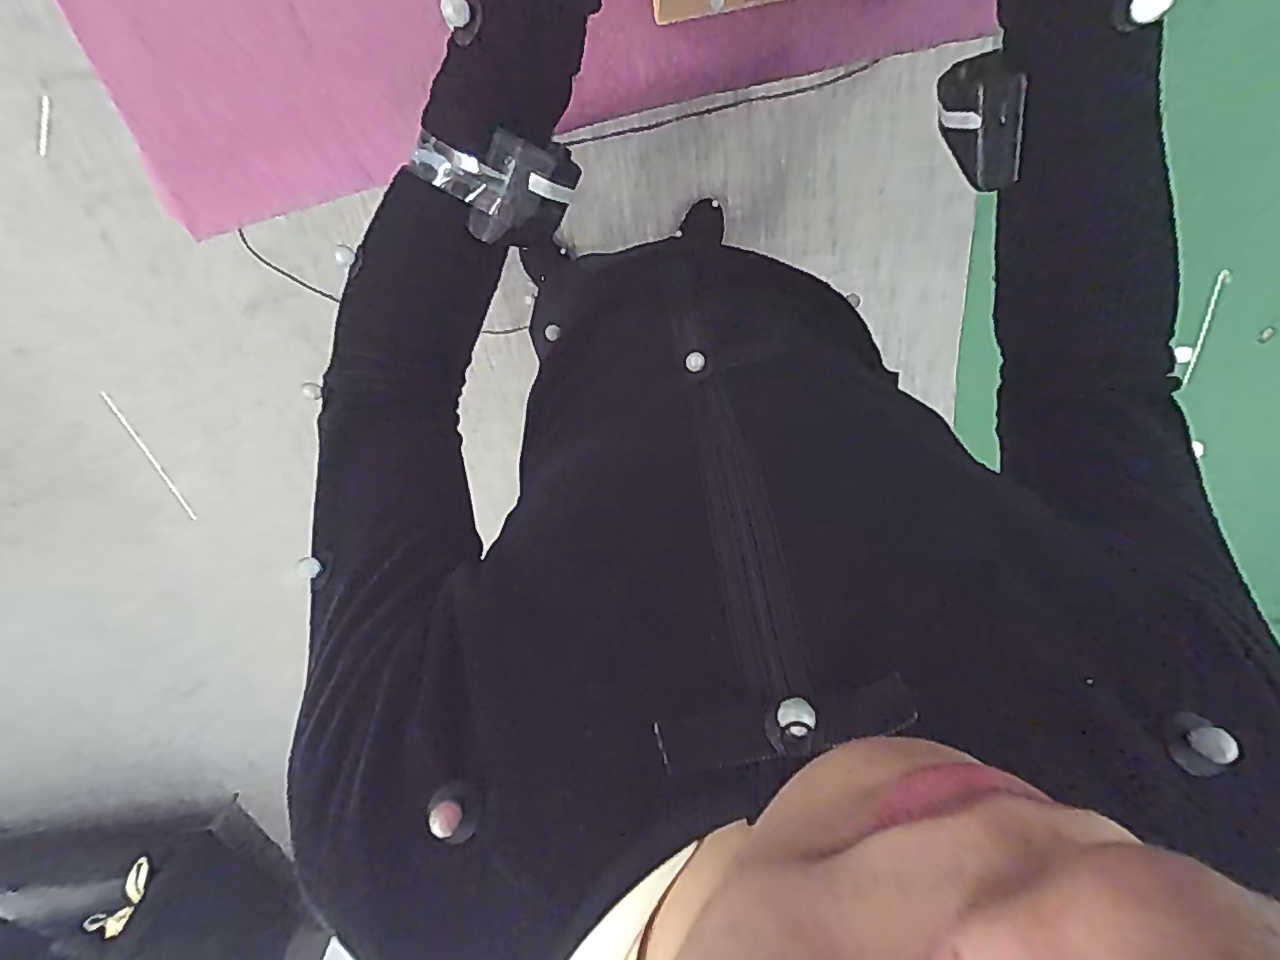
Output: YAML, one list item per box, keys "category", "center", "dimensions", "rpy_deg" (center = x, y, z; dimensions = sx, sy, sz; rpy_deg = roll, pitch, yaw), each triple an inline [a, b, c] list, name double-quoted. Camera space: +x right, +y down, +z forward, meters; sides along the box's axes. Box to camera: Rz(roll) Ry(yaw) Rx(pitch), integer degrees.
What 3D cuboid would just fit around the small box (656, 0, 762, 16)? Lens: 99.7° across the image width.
- category: "small box"
  center: [0.085, -0.572, 0.506]
  dimensions: [0.168, 0.176, 0.179]
  rpy_deg: [-7, 118, 6]
